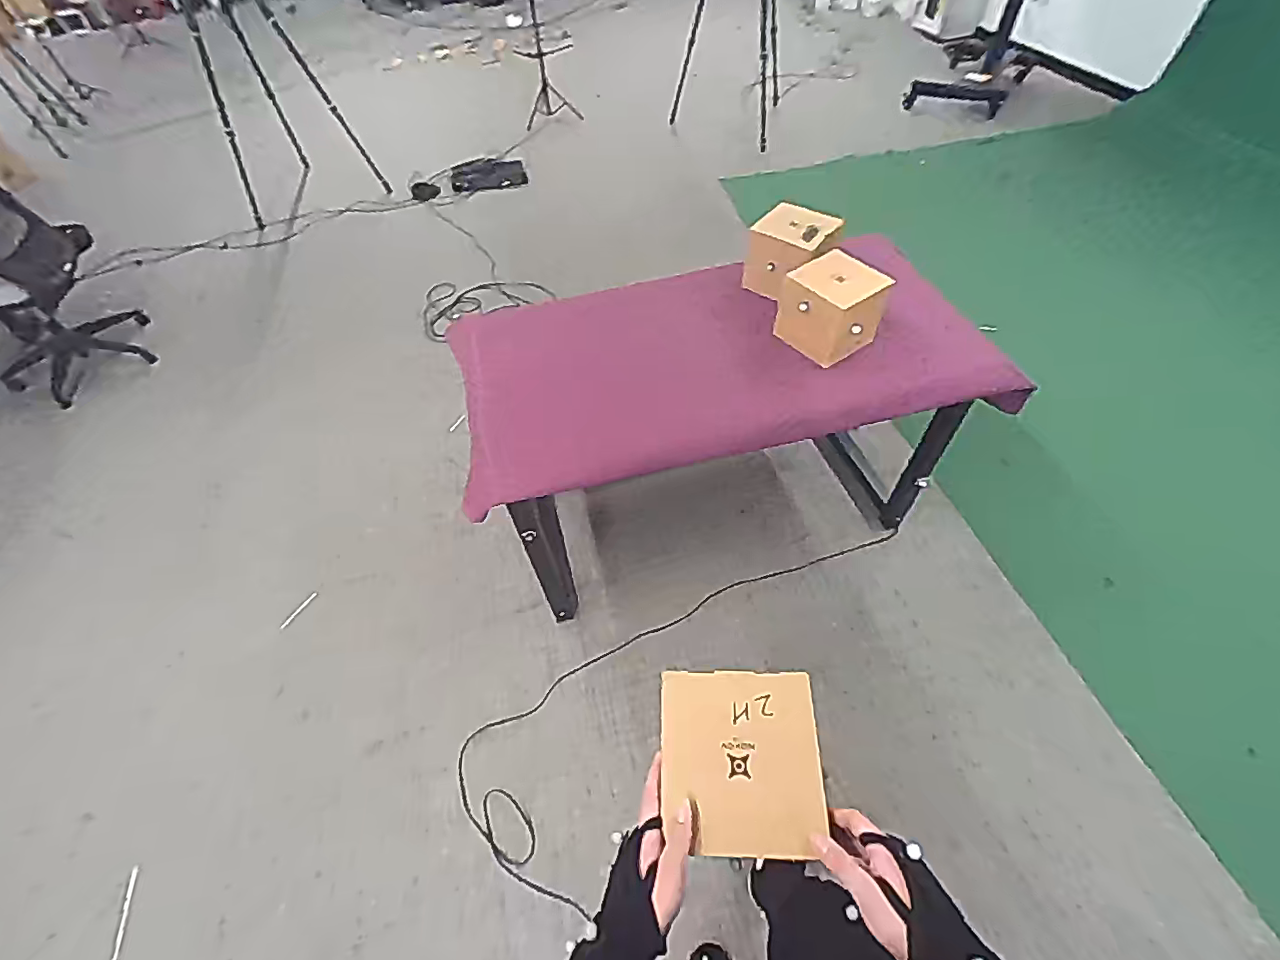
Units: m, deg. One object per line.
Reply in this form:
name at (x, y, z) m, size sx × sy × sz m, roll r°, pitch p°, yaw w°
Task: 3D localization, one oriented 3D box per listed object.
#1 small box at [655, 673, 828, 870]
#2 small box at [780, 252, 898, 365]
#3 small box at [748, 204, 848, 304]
small box at (0.107, 0.332, 0.622) m, size 0.168 × 0.176 × 0.179 m, roll -1°, pitch 58°, yaw 5°
small box at (0.453, -0.390, 1.257) m, size 0.168 × 0.176 × 0.179 m, roll -31°, pitch 57°, yaw -18°
small box at (0.399, -0.572, 1.393) m, size 0.179 × 0.176 × 0.168 m, roll 33°, pitch 61°, yaw 25°
